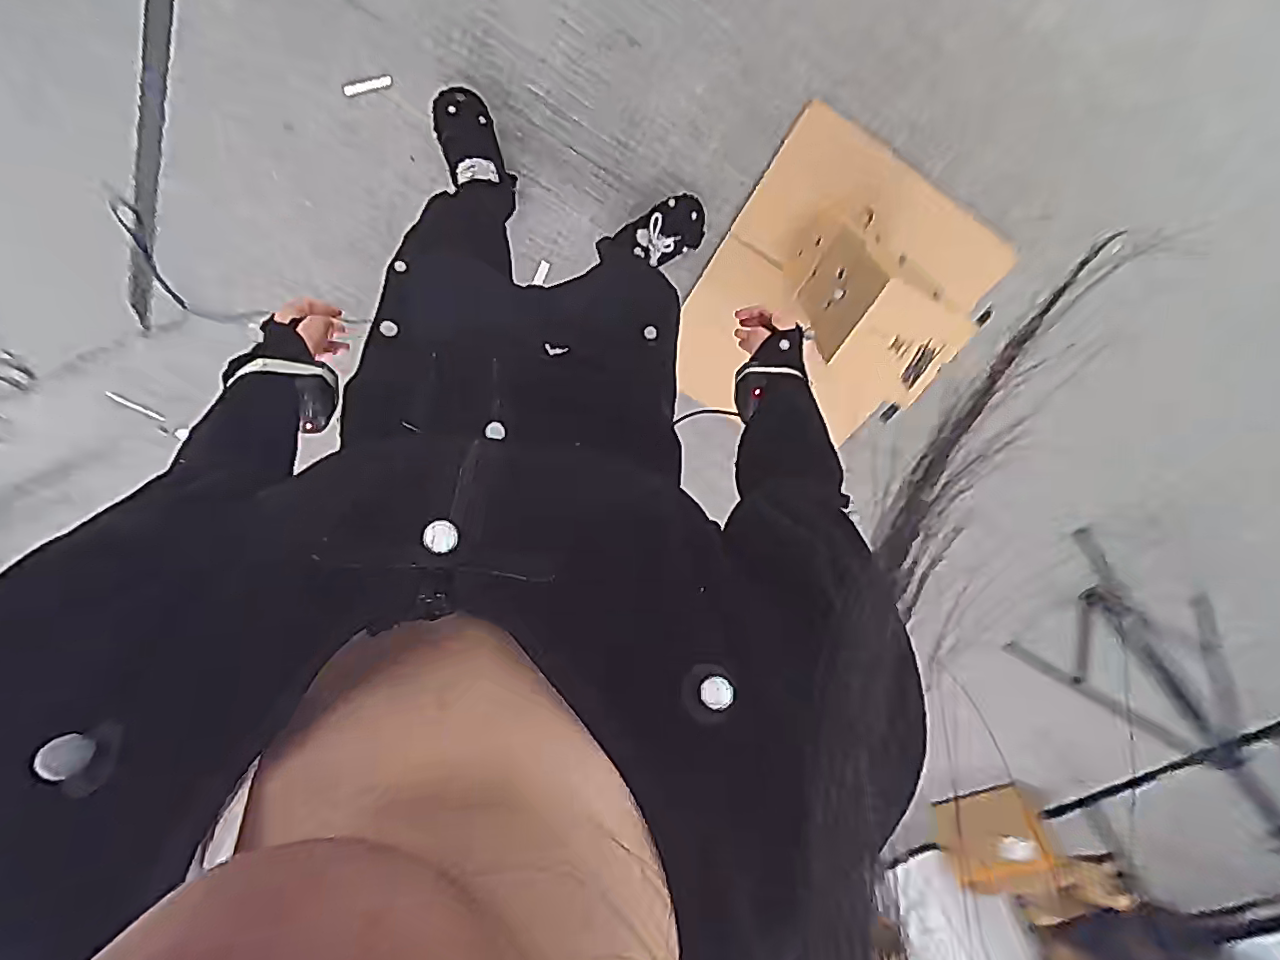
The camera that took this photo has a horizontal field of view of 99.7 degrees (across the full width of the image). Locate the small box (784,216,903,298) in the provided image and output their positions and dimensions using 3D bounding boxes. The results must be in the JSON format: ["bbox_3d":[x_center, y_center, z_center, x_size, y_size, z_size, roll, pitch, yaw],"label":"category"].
[{"bbox_3d":[0.444,-0.461,1.199,0.179,0.176,0.168,25,125,-14],"label":"small box"}]

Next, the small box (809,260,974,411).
[{"bbox_3d":[0.423,-0.257,0.941,0.179,0.176,0.168,24,125,-13],"label":"small box"}]

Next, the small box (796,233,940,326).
[{"bbox_3d":[0.438,-0.361,1.068,0.179,0.176,0.168,23,124,-14],"label":"small box"}]
